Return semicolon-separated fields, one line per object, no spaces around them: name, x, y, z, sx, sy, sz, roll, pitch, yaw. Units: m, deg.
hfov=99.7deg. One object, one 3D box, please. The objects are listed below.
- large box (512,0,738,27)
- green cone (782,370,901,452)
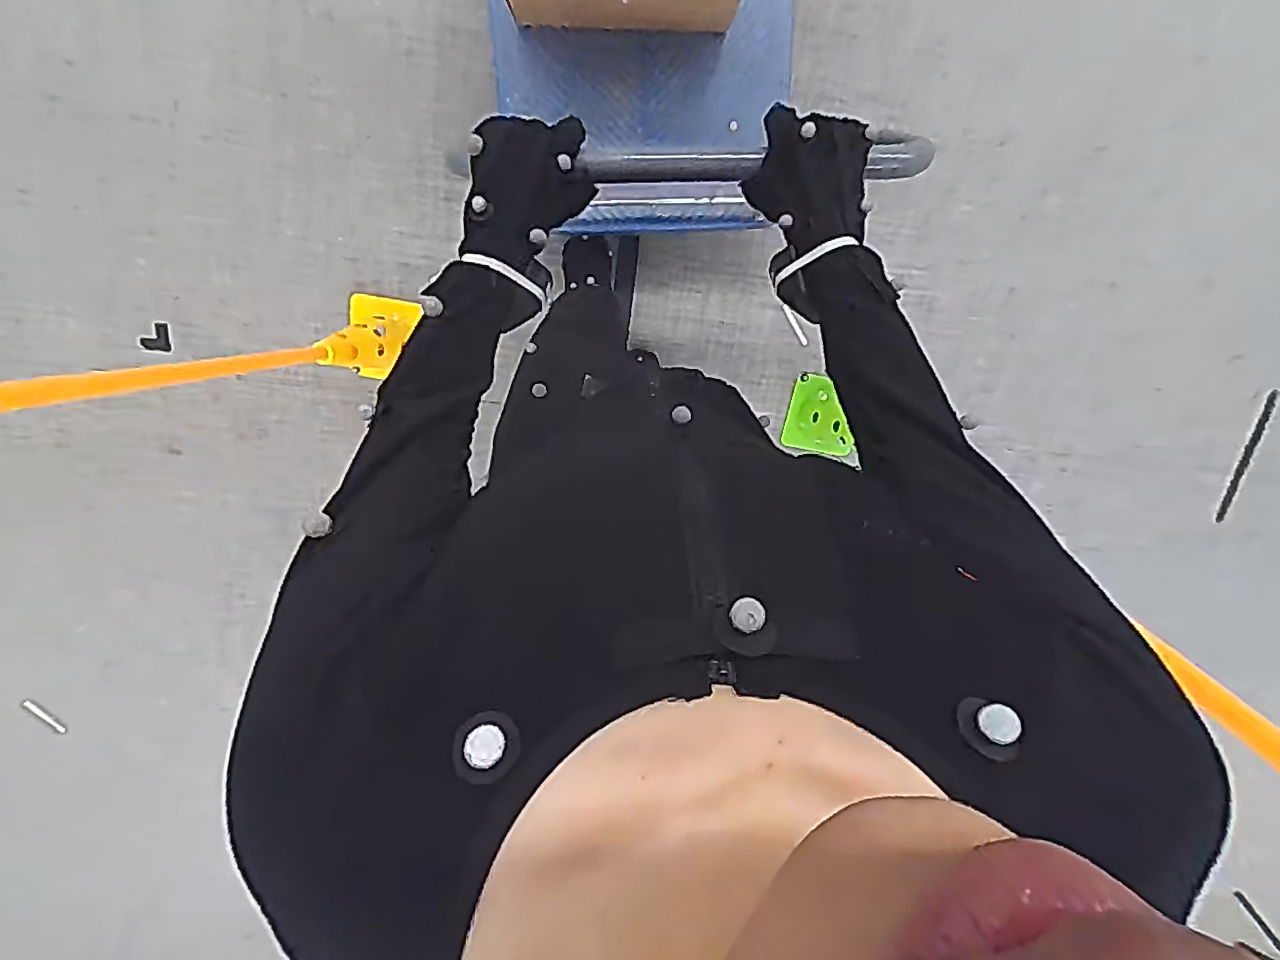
large box;-0.025;-0.956;0.841;0.408;0.320;0.320;0;109;-2
green cone;0.506;-0.130;1.291;0.202;0.368;0.200;9;107;-7
